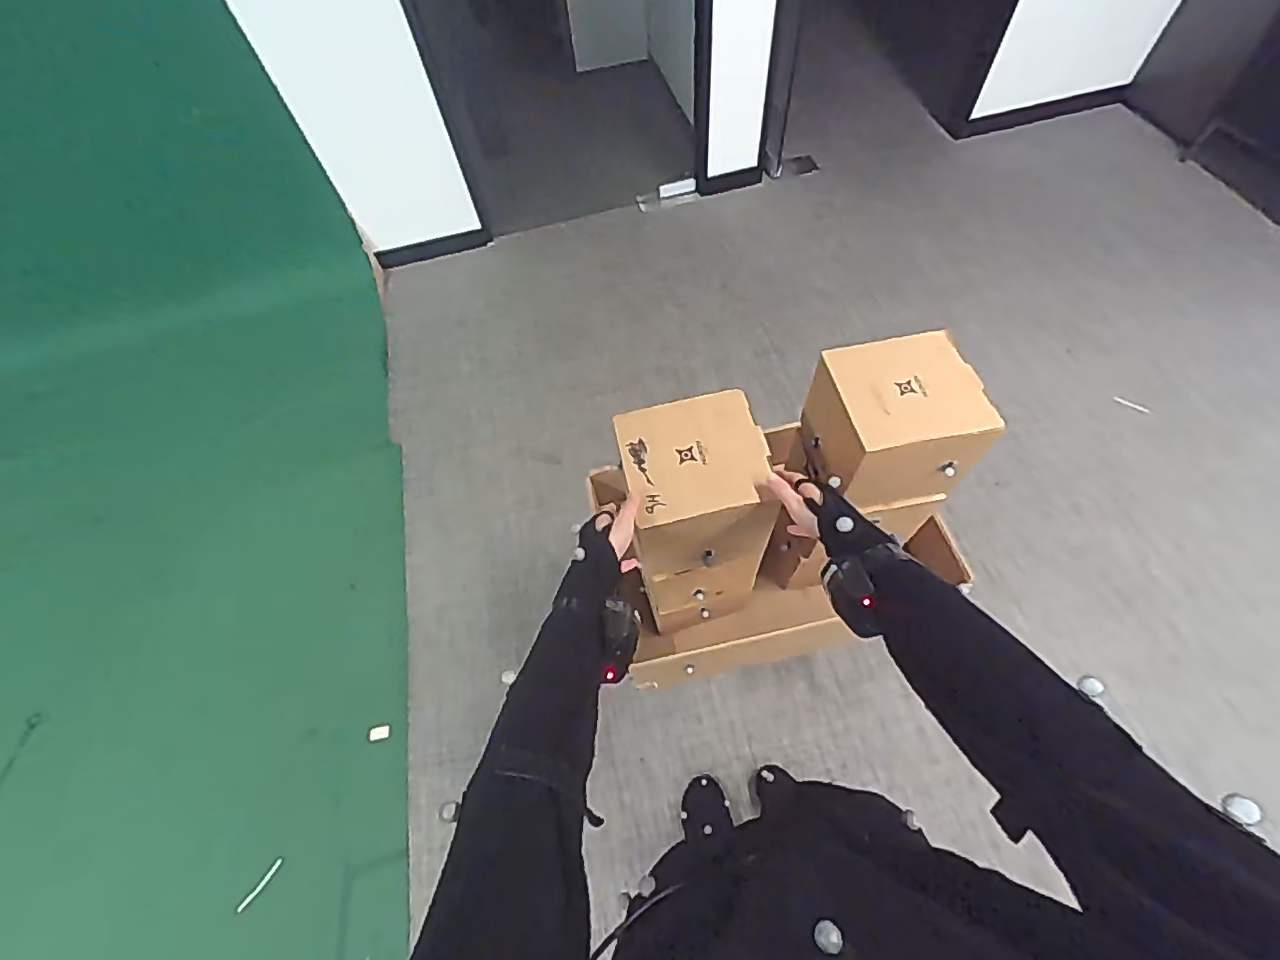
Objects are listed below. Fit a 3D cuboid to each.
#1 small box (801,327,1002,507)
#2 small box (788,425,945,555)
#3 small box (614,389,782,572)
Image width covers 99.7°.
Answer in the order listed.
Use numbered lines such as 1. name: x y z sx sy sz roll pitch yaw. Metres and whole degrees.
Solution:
1. small box: 0.341 -0.081 0.748 0.179 0.176 0.168 -11 59 0
2. small box: 0.351 0.009 0.884 0.179 0.176 0.168 -10 60 -1
3. small box: 0.070 0.007 0.725 0.179 0.176 0.168 -12 60 -2
